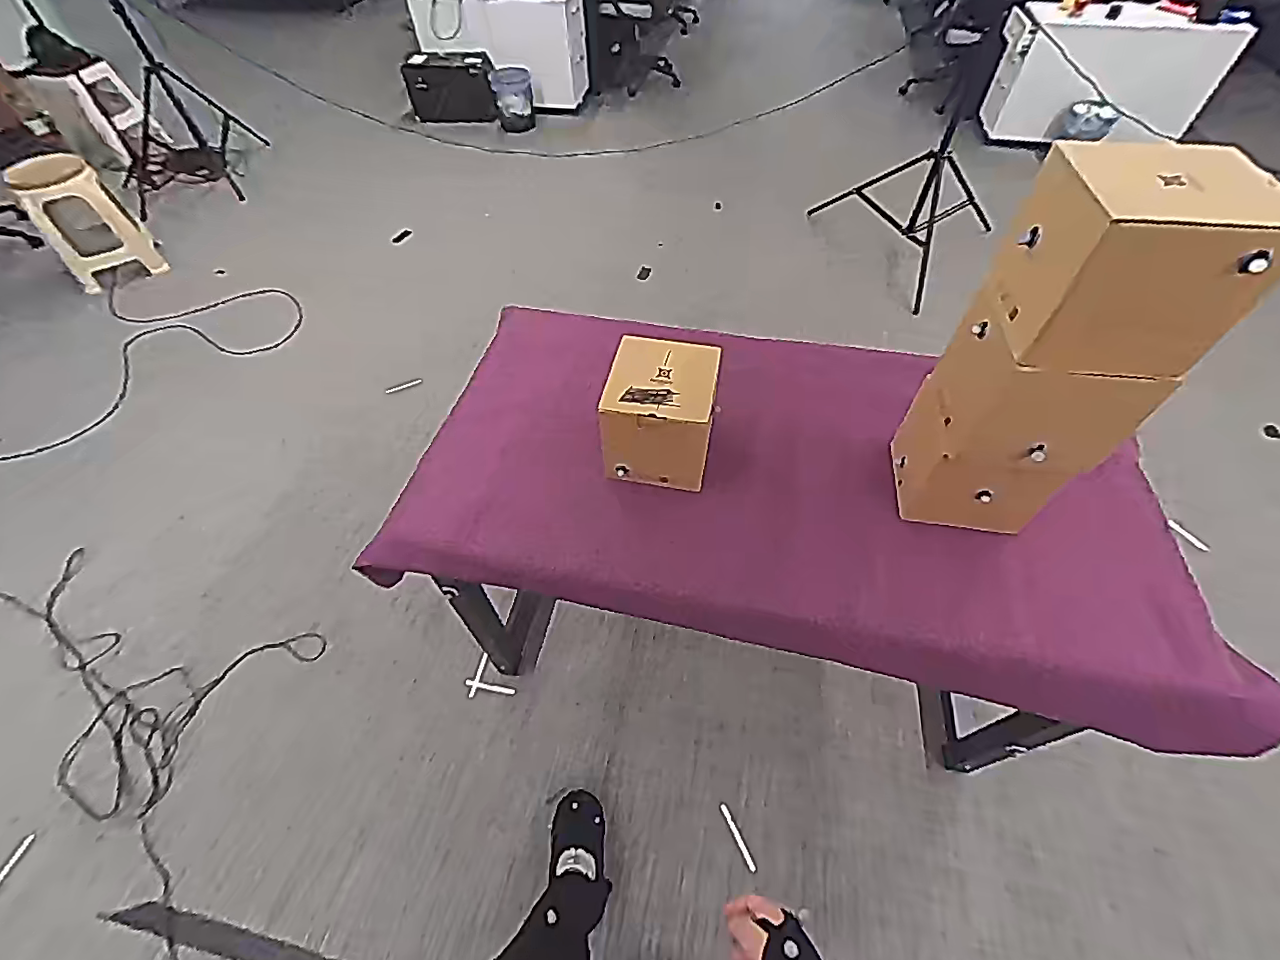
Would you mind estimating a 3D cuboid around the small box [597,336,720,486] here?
[{"bbox_3d":[0.035,-0.111,0.899,0.168,0.176,0.179,9,53,7],"label":"small box"}]

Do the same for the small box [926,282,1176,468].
[{"bbox_3d":[0.508,-0.132,0.703,0.179,0.176,0.168,5,53,5],"label":"small box"}]

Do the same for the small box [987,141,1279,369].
[{"bbox_3d":[0.505,-0.237,0.578,0.179,0.176,0.168,5,53,5],"label":"small box"}]
